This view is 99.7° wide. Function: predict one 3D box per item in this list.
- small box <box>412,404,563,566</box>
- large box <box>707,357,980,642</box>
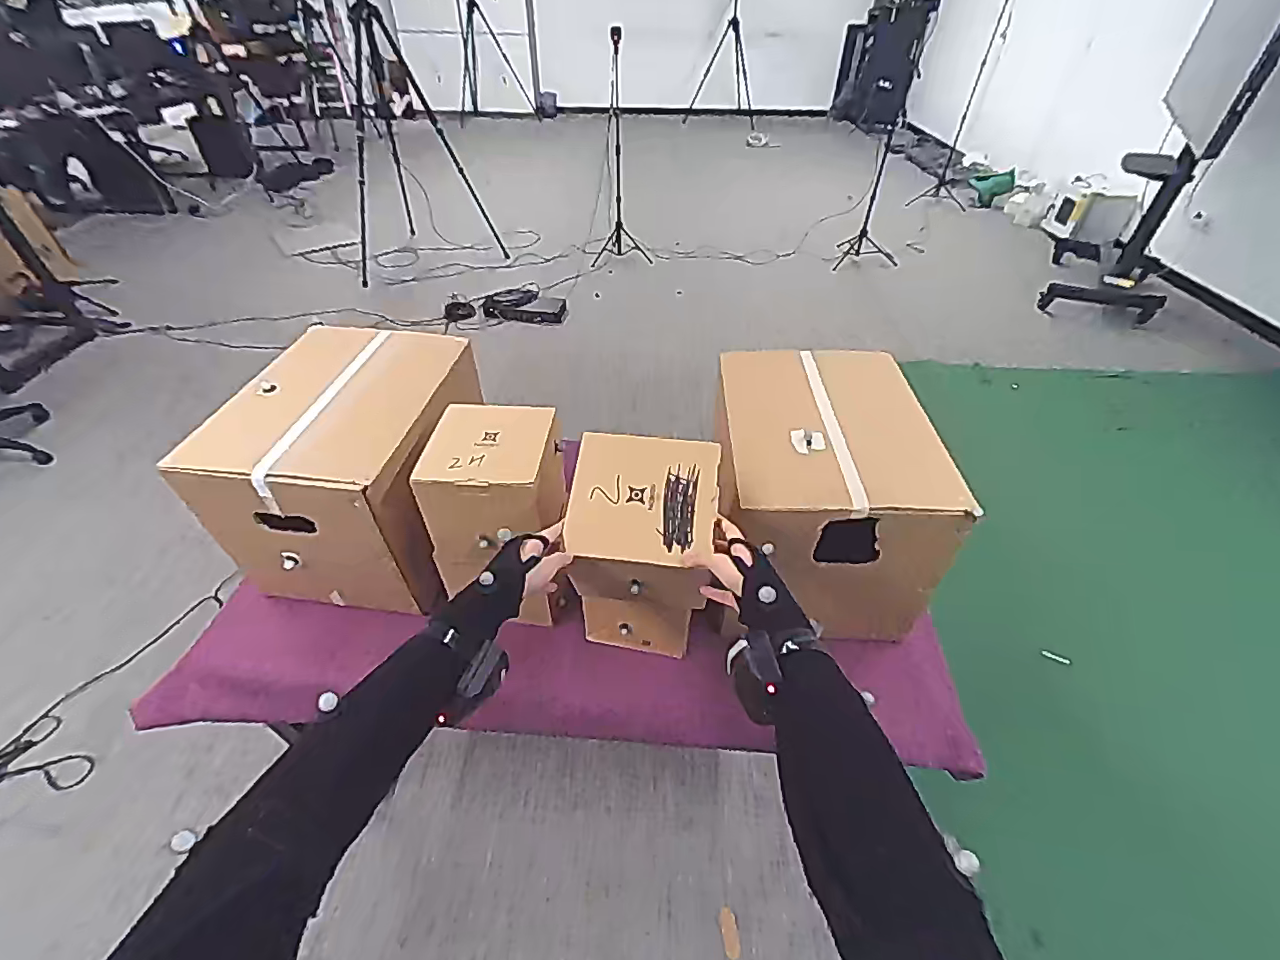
[{"bbox_3d":[-0.212,0.005,0.813,0.168,0.176,0.179,2,43,2],"label":"small box"},{"bbox_3d":[0.293,0.023,0.944,0.320,0.320,0.408,0,43,3],"label":"large box"}]
